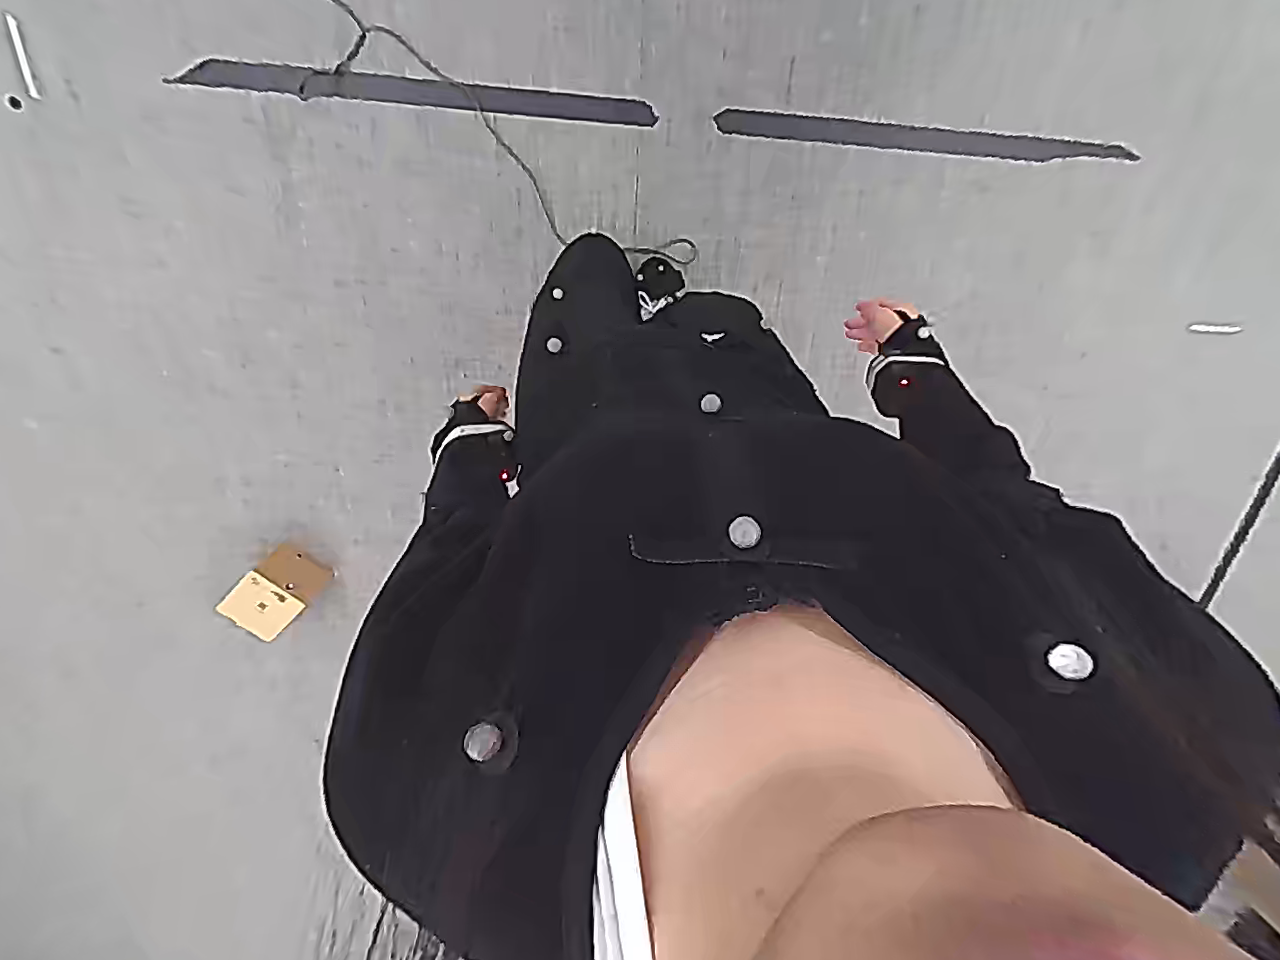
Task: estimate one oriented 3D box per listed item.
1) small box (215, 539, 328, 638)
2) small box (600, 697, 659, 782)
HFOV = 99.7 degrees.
[{"bbox_3d":[-1.032,0.303,1.532,0.179,0.176,0.168,-42,109,13],"label":"small box"},{"bbox_3d":[-0.035,0.777,1.638,0.168,0.176,0.179,-2,114,-3],"label":"small box"}]
